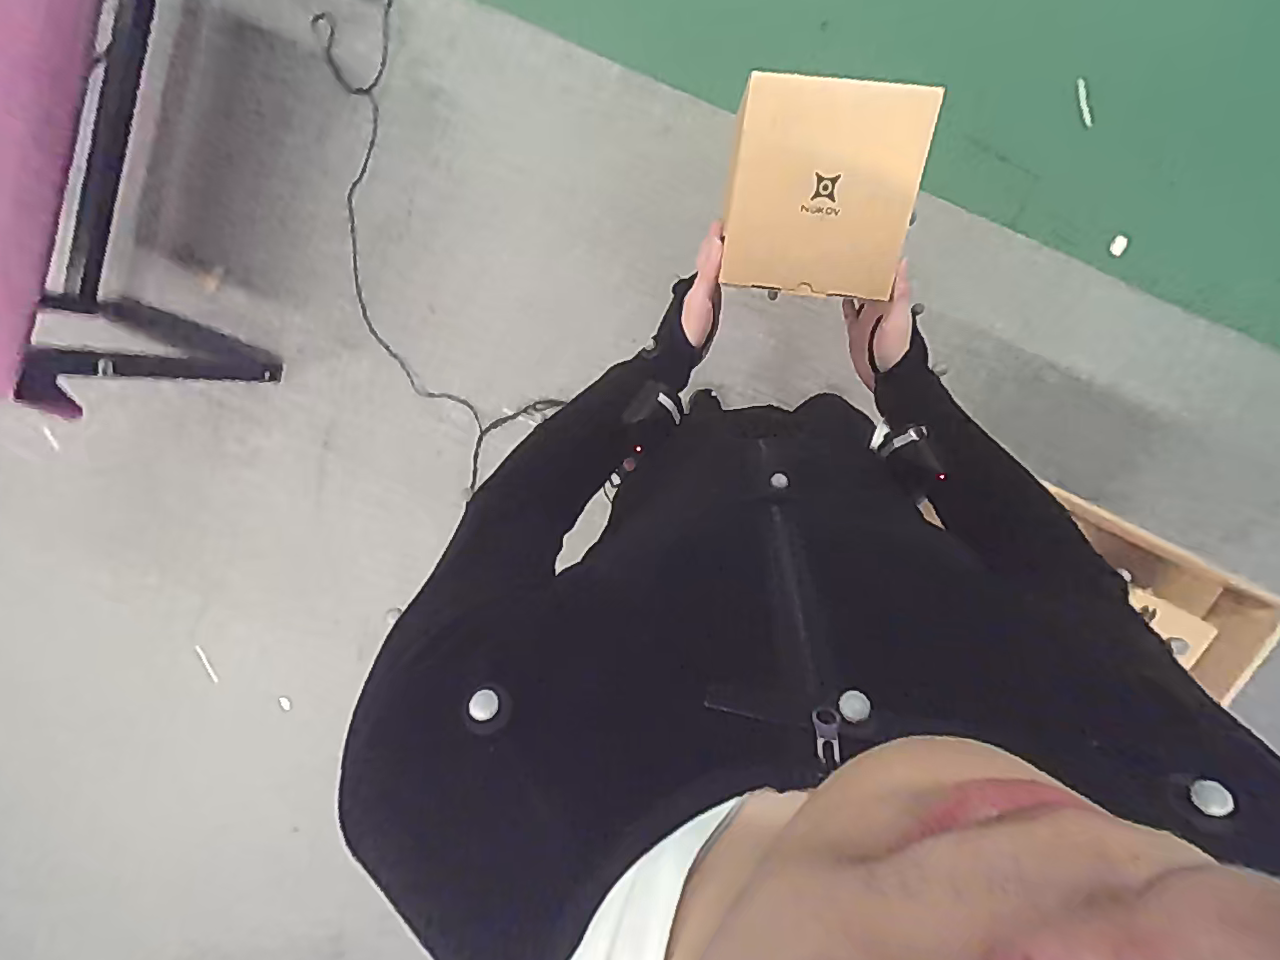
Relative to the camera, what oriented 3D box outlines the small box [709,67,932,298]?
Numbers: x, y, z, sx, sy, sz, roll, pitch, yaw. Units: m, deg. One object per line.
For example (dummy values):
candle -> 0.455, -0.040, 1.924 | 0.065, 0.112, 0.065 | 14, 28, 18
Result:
small box -> 0.166, -0.295, 0.565 | 0.168, 0.176, 0.179 | 6, 114, 2
